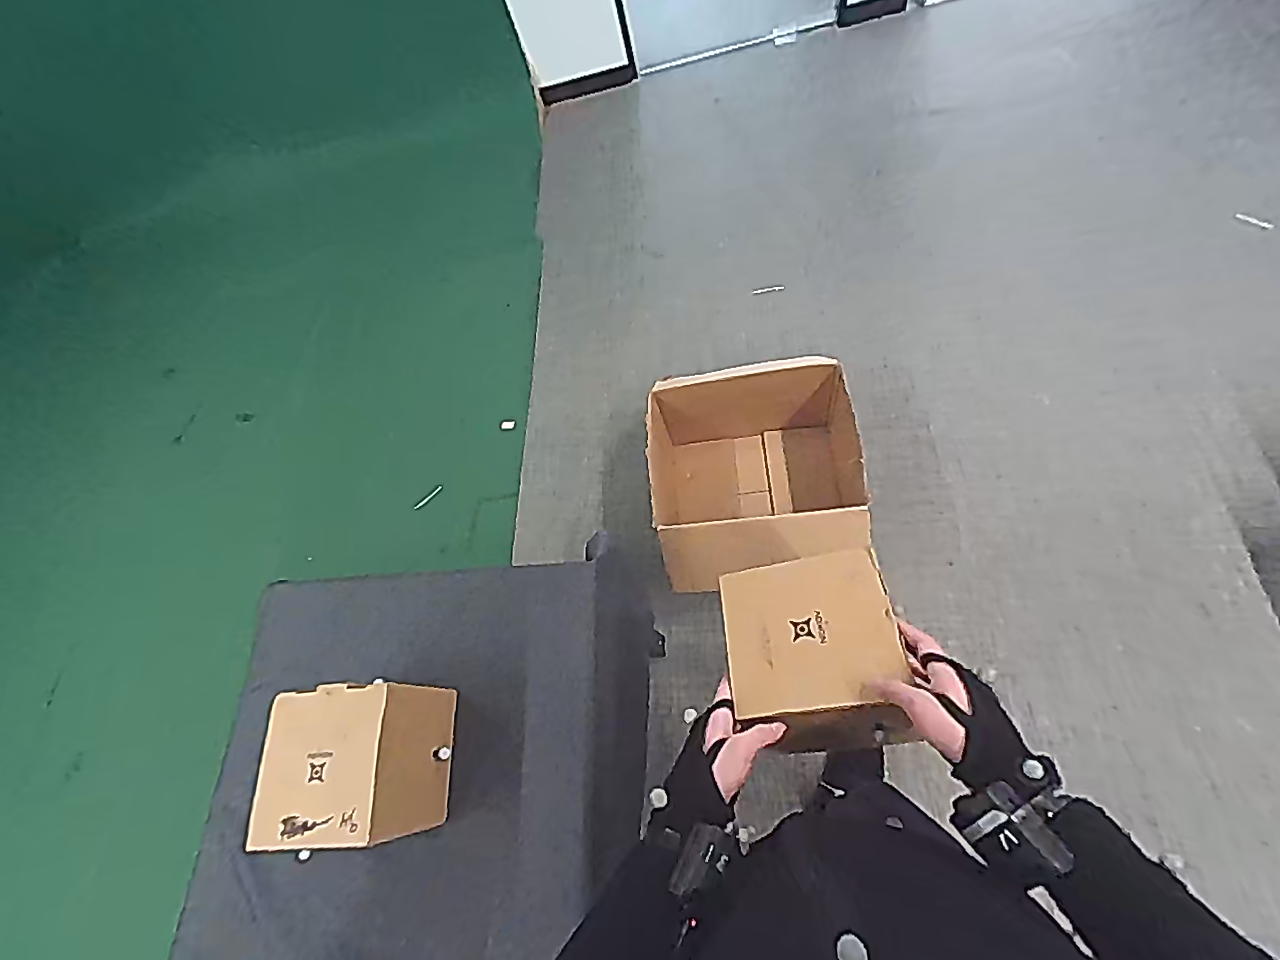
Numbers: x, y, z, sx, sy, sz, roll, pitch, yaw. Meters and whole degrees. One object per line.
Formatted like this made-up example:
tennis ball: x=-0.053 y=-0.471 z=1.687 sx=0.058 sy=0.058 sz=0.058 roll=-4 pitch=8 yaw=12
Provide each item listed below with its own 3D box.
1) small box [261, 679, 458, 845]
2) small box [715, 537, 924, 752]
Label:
small box: x=-0.366 y=0.382 z=0.745 sx=0.168 sy=0.176 sz=0.179 roll=-10 pitch=64 yaw=8
small box: x=0.199 y=0.191 z=0.605 sx=0.179 sy=0.176 sz=0.168 roll=-17 pitch=47 yaw=18
